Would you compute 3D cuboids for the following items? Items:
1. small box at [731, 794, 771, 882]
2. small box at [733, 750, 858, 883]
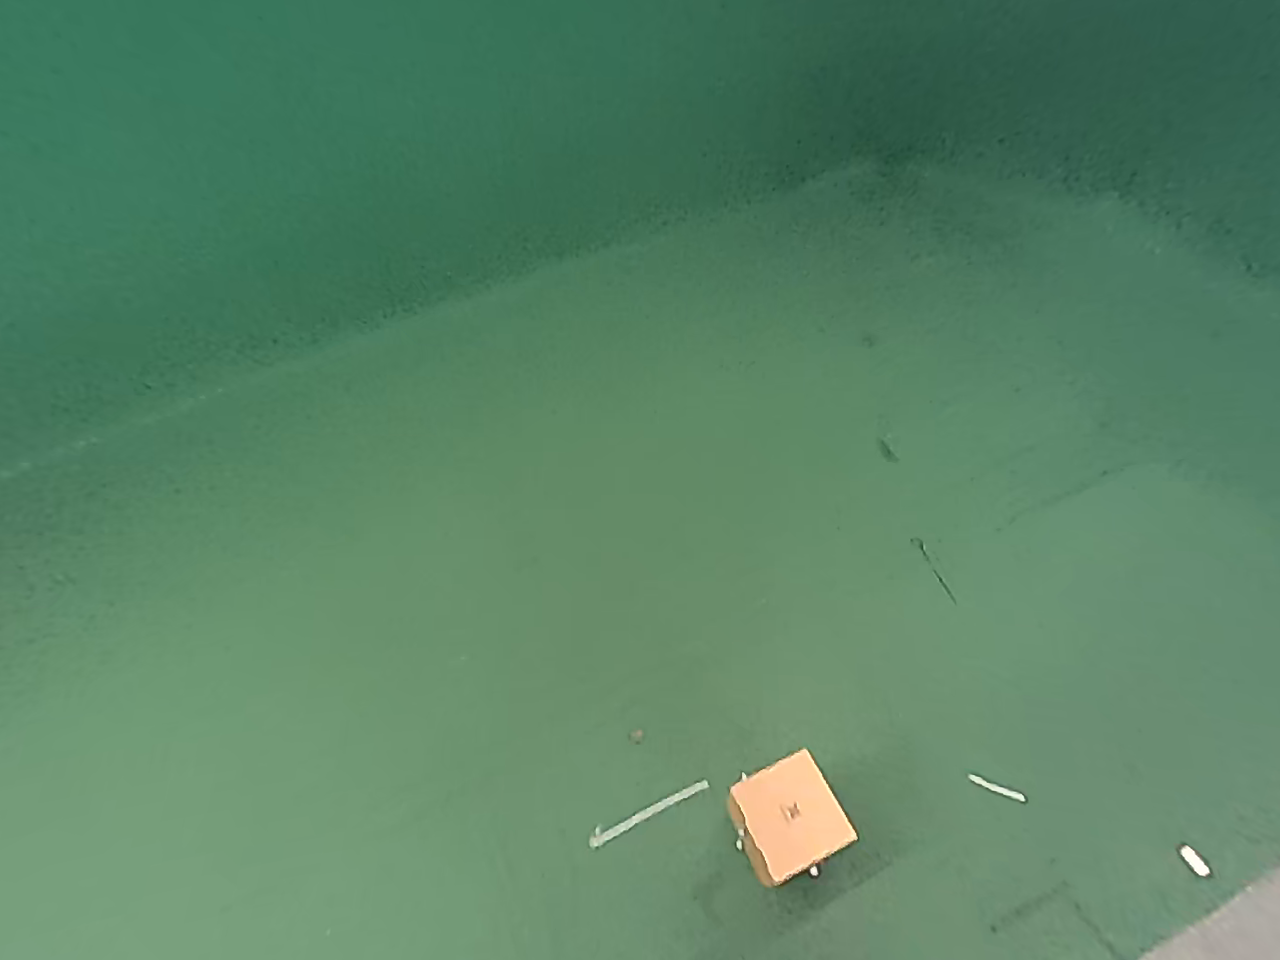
[{"bbox_3d":[0.315,0.769,1.210,0.179,0.176,0.168,-21,53,-9],"label":"small box"},{"bbox_3d":[0.298,0.672,1.081,0.179,0.176,0.168,-23,53,-9],"label":"small box"}]
